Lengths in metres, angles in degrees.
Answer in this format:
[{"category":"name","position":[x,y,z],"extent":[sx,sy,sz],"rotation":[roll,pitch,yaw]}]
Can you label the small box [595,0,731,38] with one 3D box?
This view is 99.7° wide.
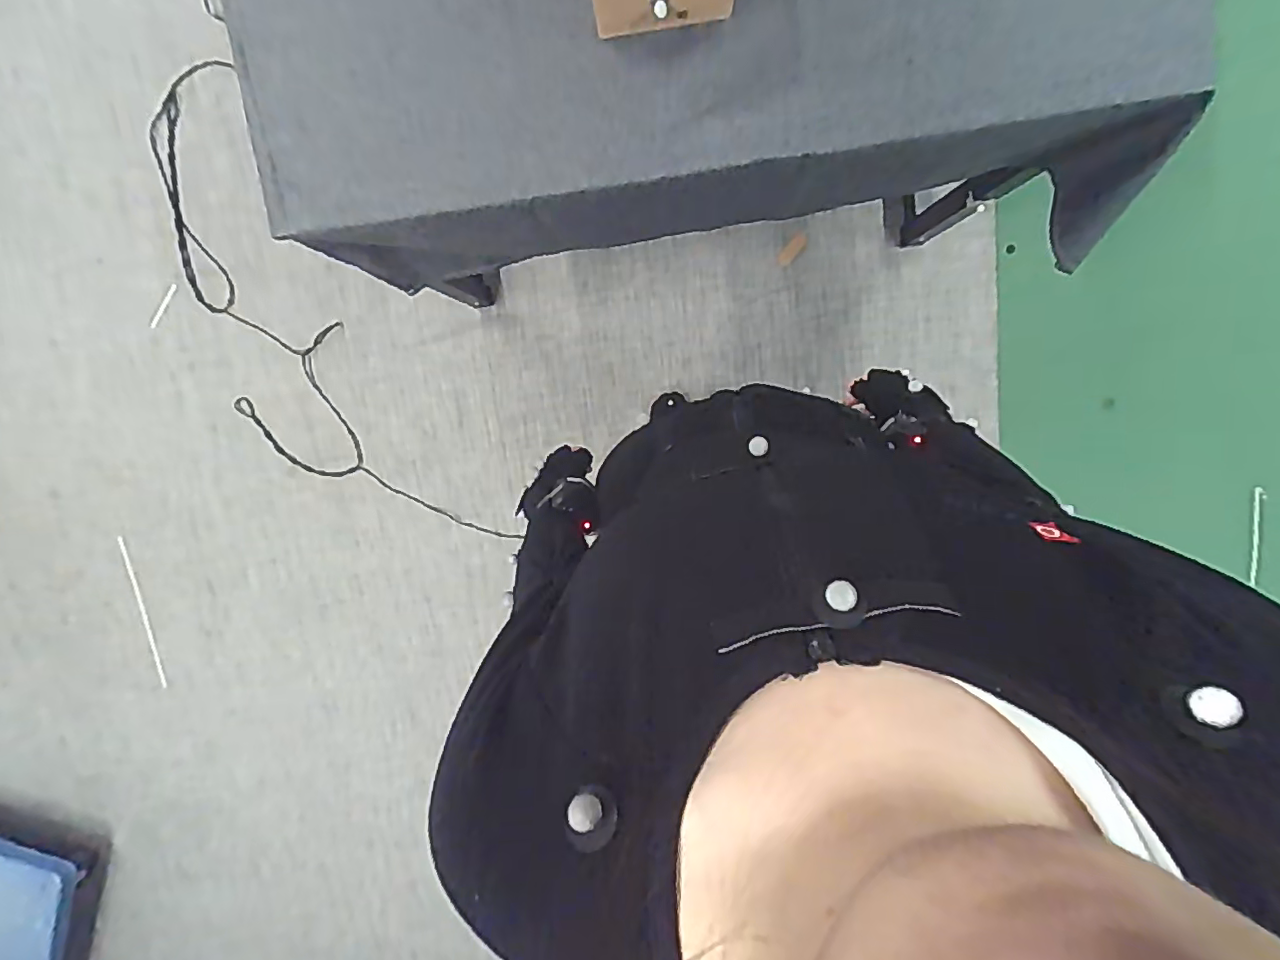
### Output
[{"category":"small box","position":[0.017,-0.633,0.580],"extent":[0.168,0.176,0.179],"rotation":[-6,98,4]}]
